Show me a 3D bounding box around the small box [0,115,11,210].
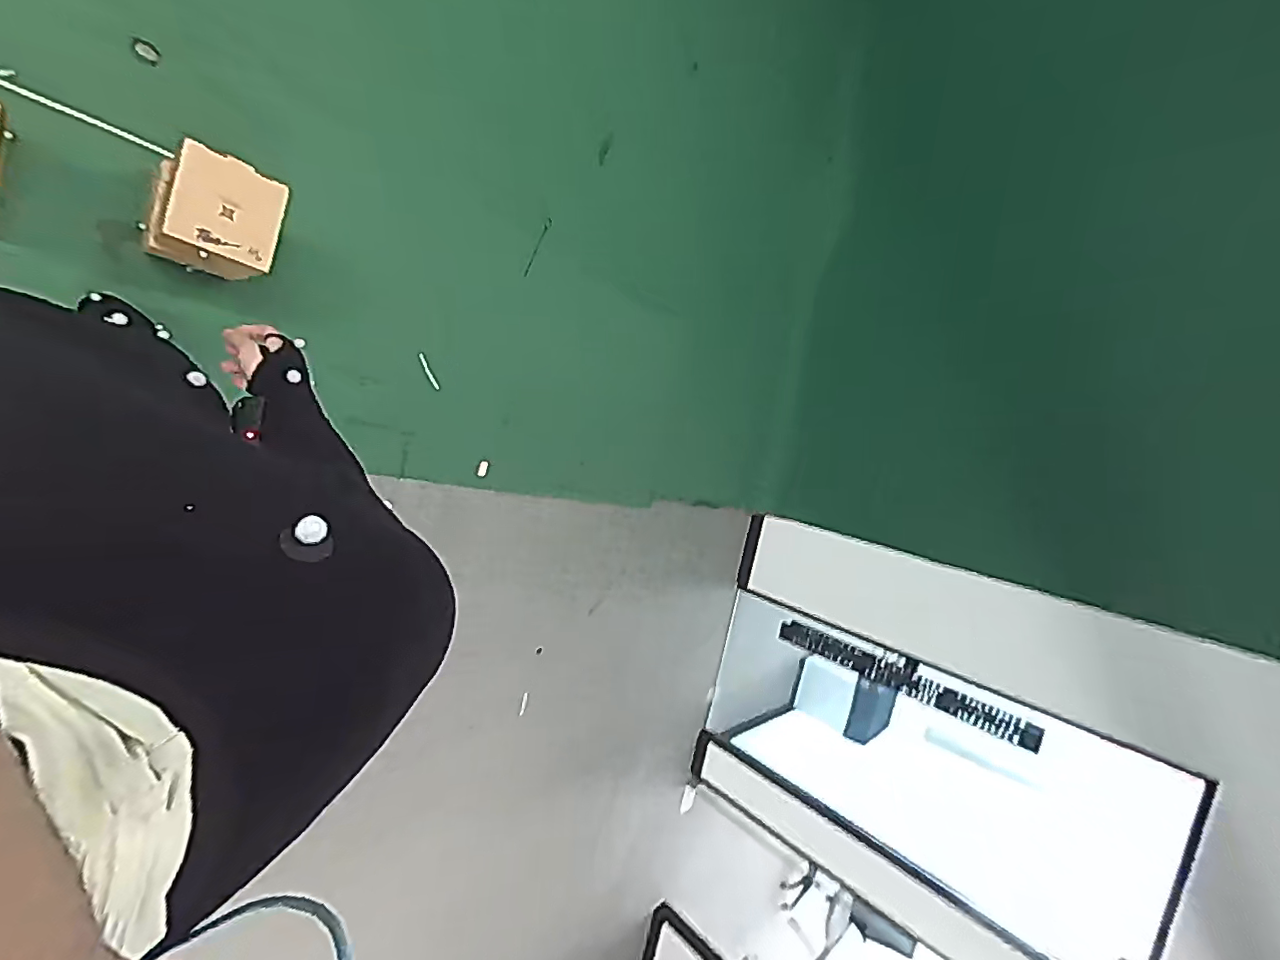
[{"bbox_3d":[-1.198,-0.558,0.907,0.168,0.176,0.179,11,94,-47],"label":"small box"}]

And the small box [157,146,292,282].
[{"bbox_3d":[-0.823,-0.511,1.067,0.168,0.176,0.179,15,91,-47],"label":"small box"}]
